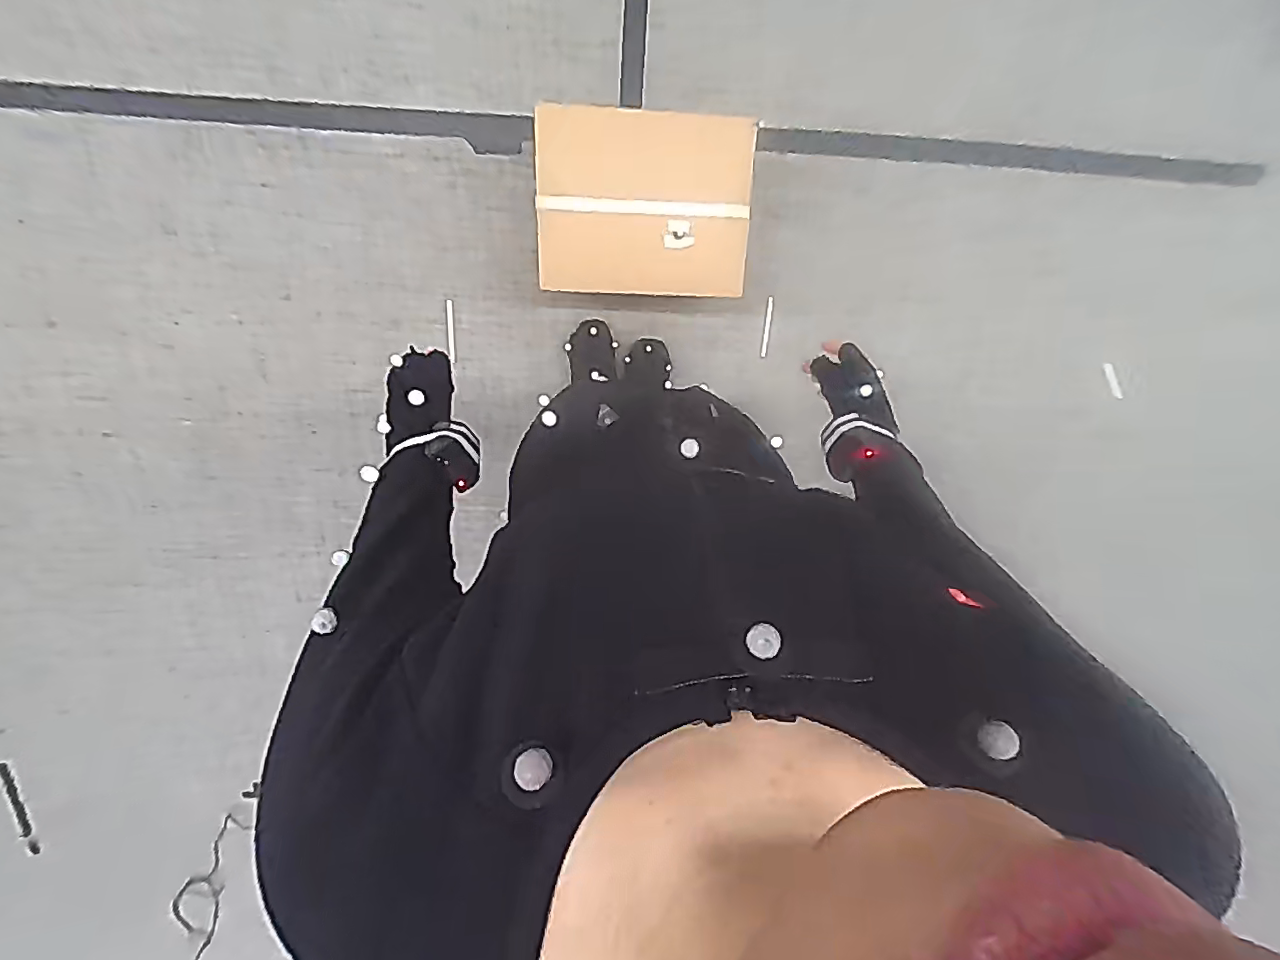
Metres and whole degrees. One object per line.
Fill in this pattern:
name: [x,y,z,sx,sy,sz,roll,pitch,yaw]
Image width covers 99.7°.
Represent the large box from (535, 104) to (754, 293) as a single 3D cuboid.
large box: [-0.007,-0.571,1.160,0.408,0.320,0.320,0,111,-6]
